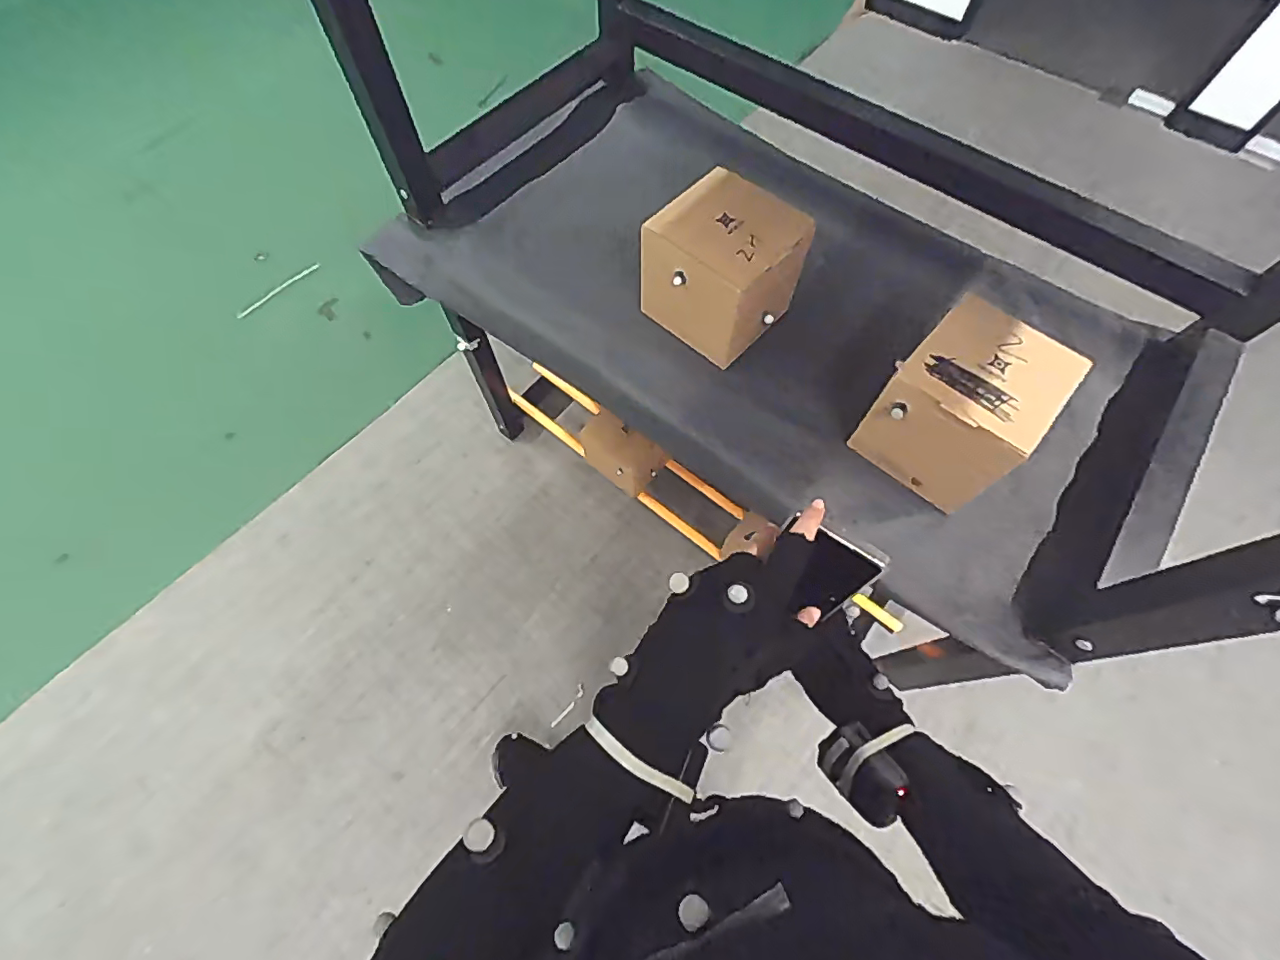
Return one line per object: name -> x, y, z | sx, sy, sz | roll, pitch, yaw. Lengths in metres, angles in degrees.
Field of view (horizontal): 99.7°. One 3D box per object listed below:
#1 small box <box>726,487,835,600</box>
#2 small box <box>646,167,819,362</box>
small box -> 0.318, 0.155, 1.264 | 0.168, 0.176, 0.179 | 40, 72, 17
small box -> 0.123, -0.308, 0.794 | 0.179, 0.176, 0.168 | 40, 71, 17
